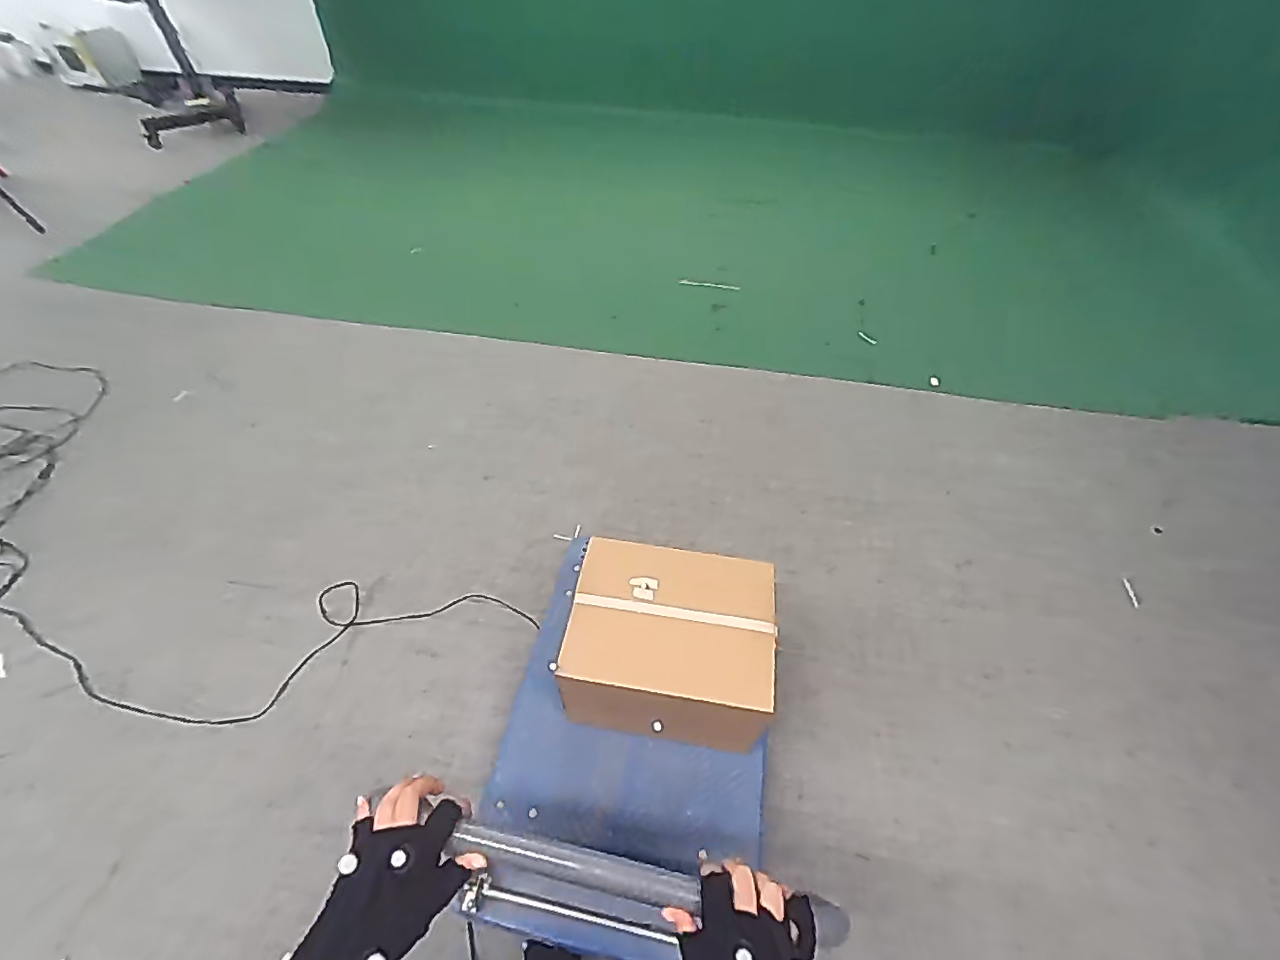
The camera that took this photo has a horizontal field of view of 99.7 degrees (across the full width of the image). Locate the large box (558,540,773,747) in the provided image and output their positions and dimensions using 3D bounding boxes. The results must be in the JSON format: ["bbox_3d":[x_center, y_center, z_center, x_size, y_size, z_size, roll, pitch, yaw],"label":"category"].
[{"bbox_3d":[0.064,0.365,1.198,0.408,0.320,0.320,8,49,5],"label":"large box"}]
